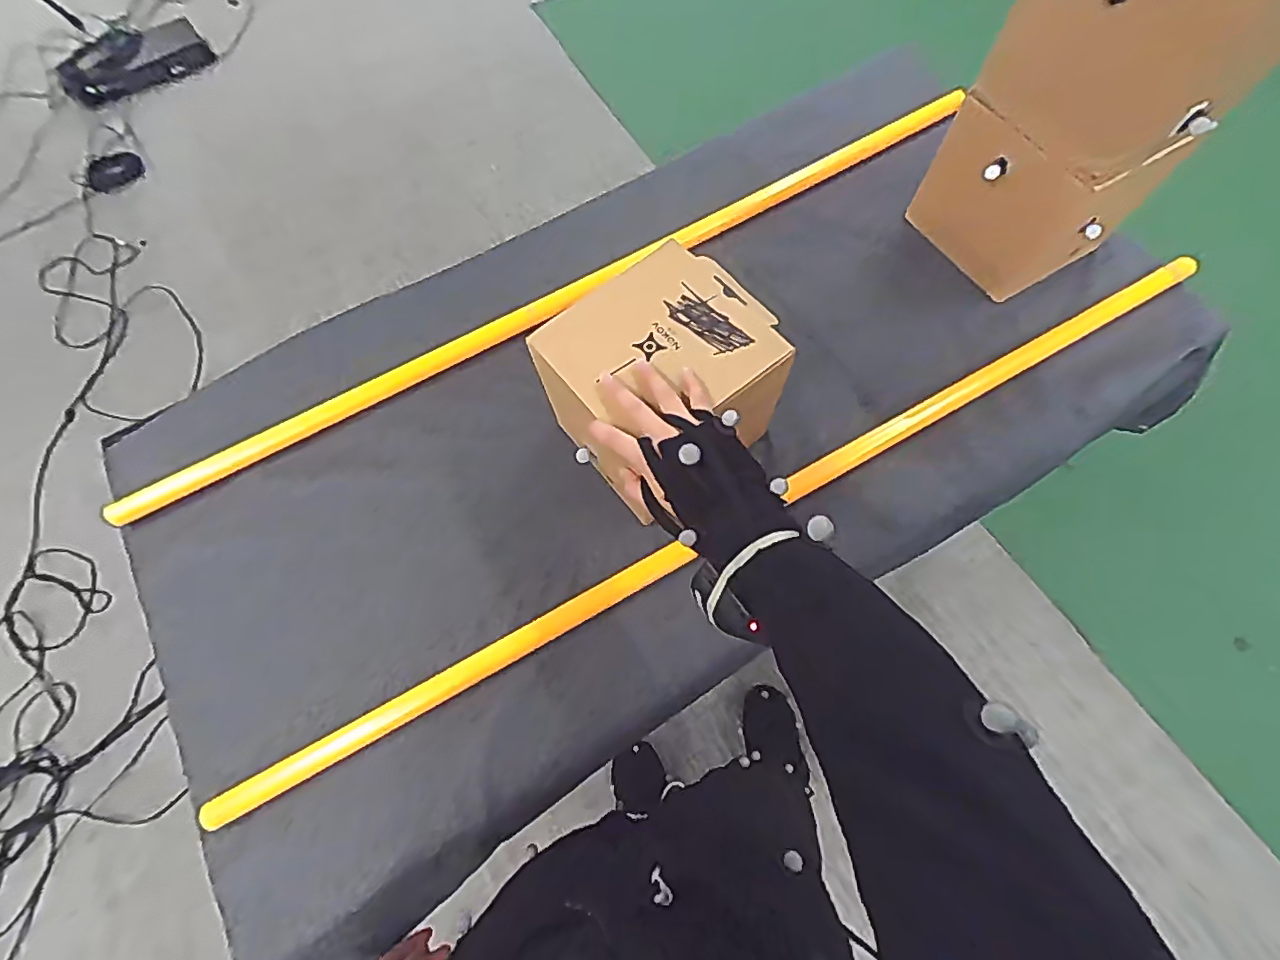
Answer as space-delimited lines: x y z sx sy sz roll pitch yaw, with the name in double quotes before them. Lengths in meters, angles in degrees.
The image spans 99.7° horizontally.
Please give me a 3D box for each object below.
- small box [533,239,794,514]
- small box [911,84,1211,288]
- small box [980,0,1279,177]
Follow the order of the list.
"small box" 0.021 -0.094 0.549 0.179 0.176 0.168 -37 71 -11
"small box" 0.462 -0.354 0.629 0.168 0.176 0.179 -29 70 -8
"small box" 0.457 -0.417 0.480 0.168 0.176 0.179 -32 70 -7
